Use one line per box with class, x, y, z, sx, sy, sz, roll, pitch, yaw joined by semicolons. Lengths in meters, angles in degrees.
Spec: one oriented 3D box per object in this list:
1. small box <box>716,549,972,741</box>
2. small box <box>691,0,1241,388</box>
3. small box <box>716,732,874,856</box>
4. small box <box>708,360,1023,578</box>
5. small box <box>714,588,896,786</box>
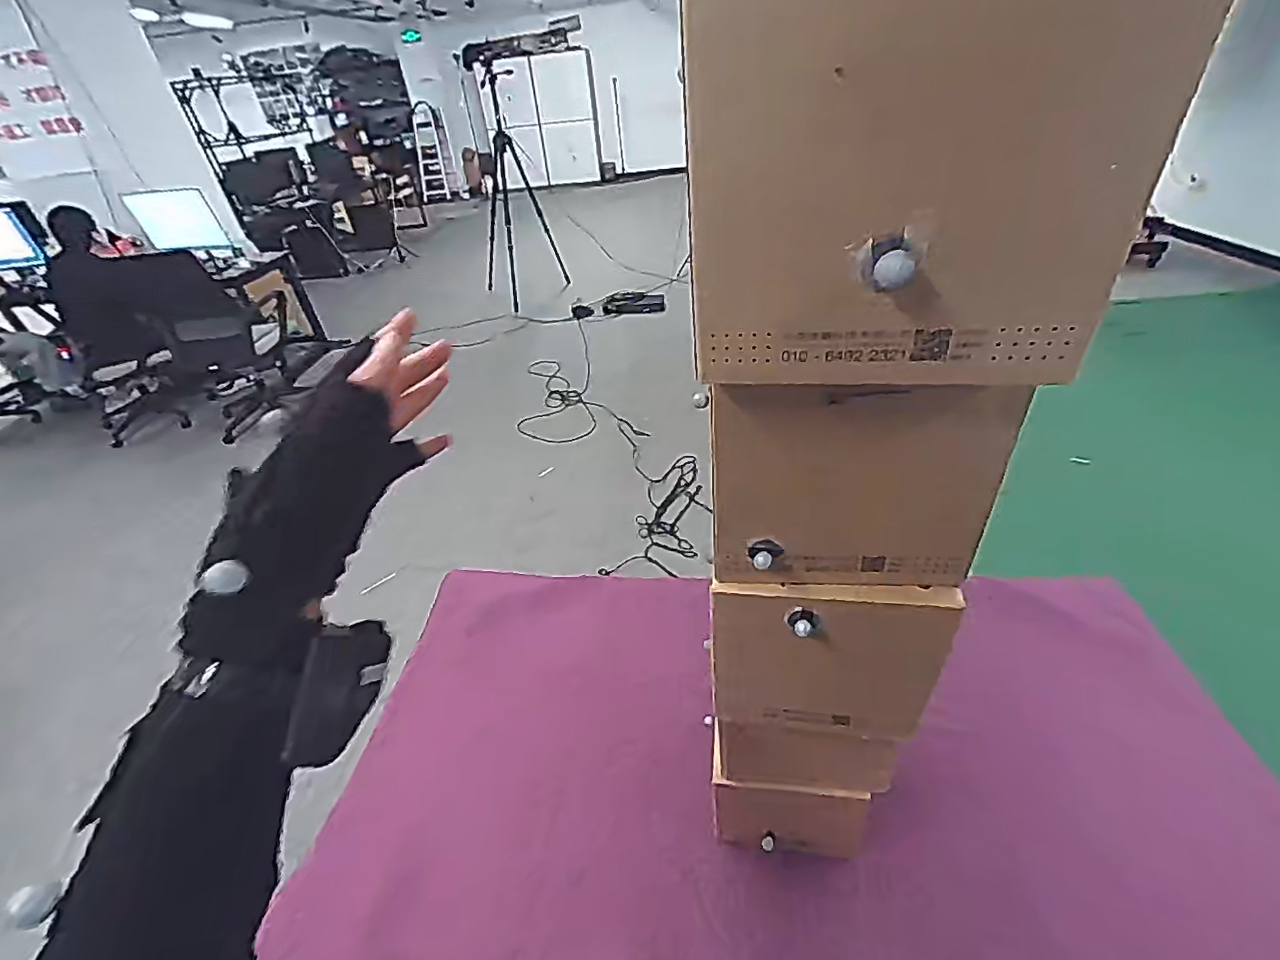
small box;0.155;0.093;0.472;0.168;0.176;0.179;1;37;12
small box;0.117;-0.160;0.265;0.168;0.176;0.179;2;39;13
small box;0.184;0.337;0.685;0.168;0.176;0.179;0;38;11
small box;0.136;-0.046;0.385;0.168;0.176;0.179;-1;36;8
small box;0.174;0.208;0.588;0.179;0.176;0.168;0;37;9
